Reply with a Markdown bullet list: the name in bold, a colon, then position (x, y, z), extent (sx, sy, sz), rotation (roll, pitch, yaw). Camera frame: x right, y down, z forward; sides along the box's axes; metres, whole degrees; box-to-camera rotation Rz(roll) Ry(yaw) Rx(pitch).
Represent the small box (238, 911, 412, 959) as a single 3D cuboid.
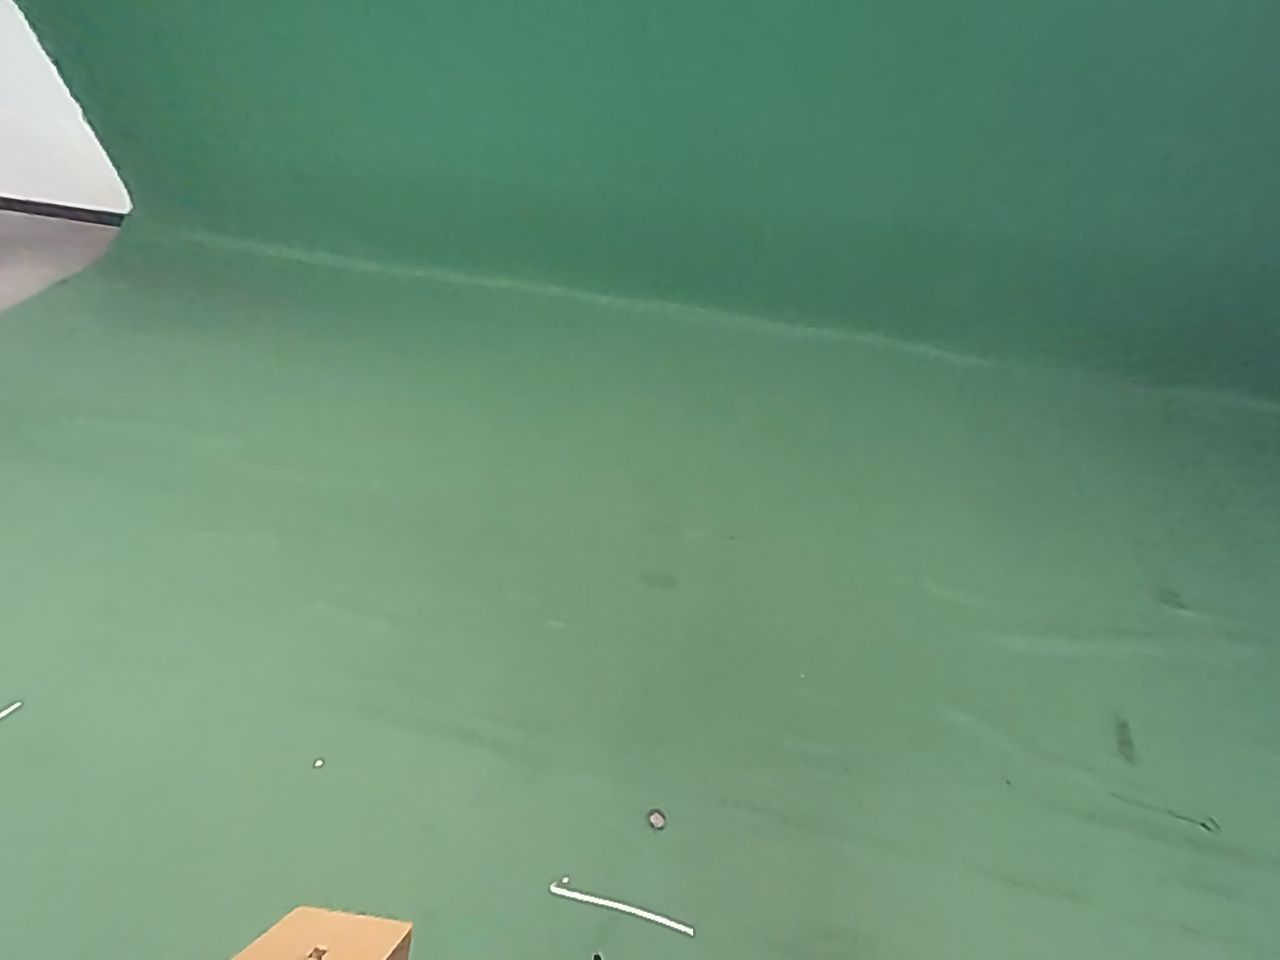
- **small box**: position (-0.396, 0.652, 0.624), extent (0.168, 0.179, 0.176), rotation (5, 78, 4)
